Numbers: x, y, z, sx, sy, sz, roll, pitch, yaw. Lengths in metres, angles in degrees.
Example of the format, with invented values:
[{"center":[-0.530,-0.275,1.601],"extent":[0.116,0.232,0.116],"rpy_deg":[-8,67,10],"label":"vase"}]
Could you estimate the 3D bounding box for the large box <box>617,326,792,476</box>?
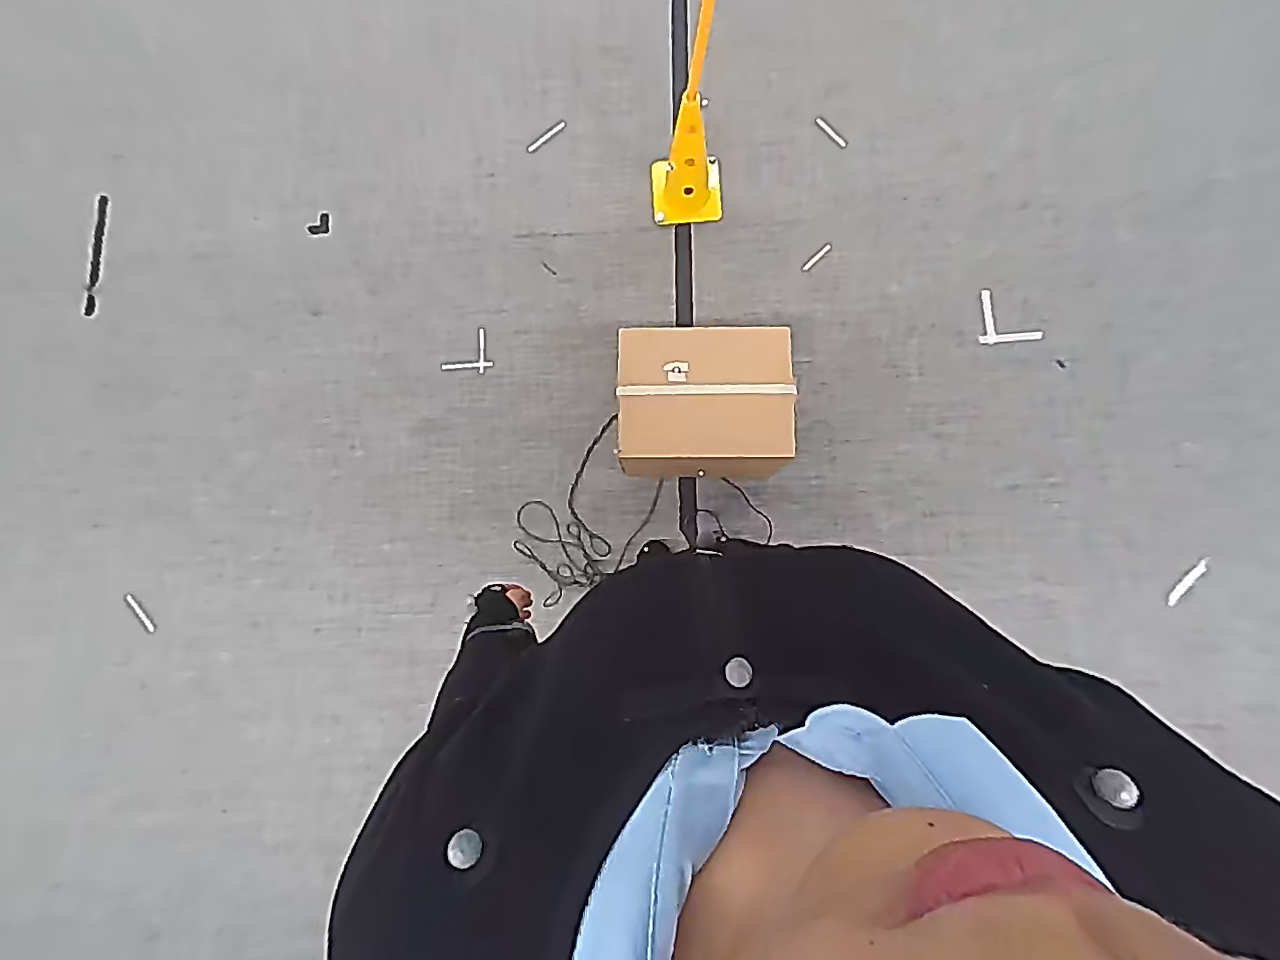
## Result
[{"center":[0.154,-0.184,1.404],"extent":[0.408,0.320,0.320],"rpy_deg":[-1,81,2],"label":"large box"}]
